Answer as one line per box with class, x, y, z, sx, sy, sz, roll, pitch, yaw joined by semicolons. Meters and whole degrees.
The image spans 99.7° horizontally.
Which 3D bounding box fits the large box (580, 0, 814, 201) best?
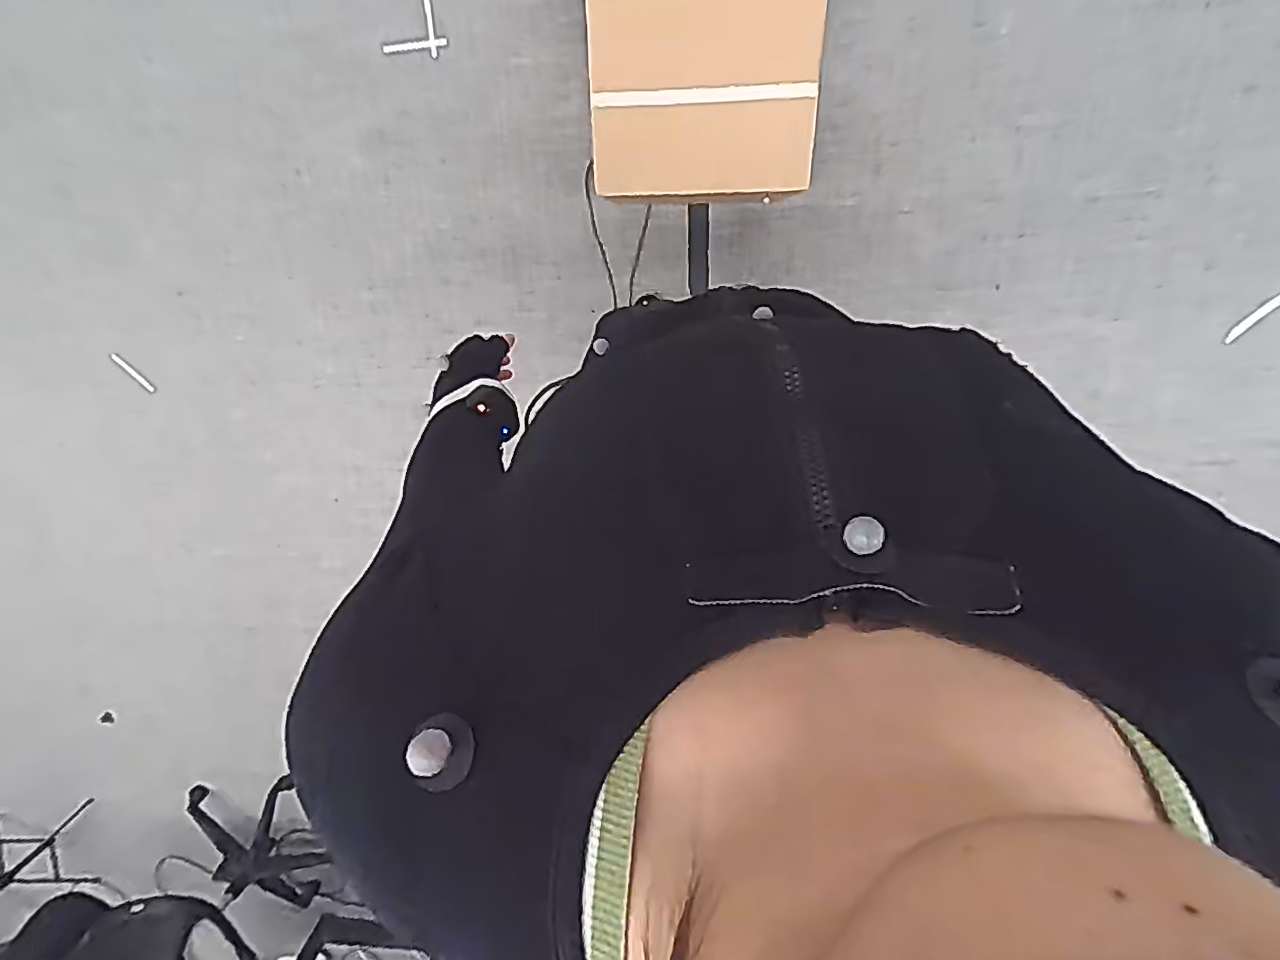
large box;0.109;-0.751;1.101;0.408;0.320;0.320;1;114;3
